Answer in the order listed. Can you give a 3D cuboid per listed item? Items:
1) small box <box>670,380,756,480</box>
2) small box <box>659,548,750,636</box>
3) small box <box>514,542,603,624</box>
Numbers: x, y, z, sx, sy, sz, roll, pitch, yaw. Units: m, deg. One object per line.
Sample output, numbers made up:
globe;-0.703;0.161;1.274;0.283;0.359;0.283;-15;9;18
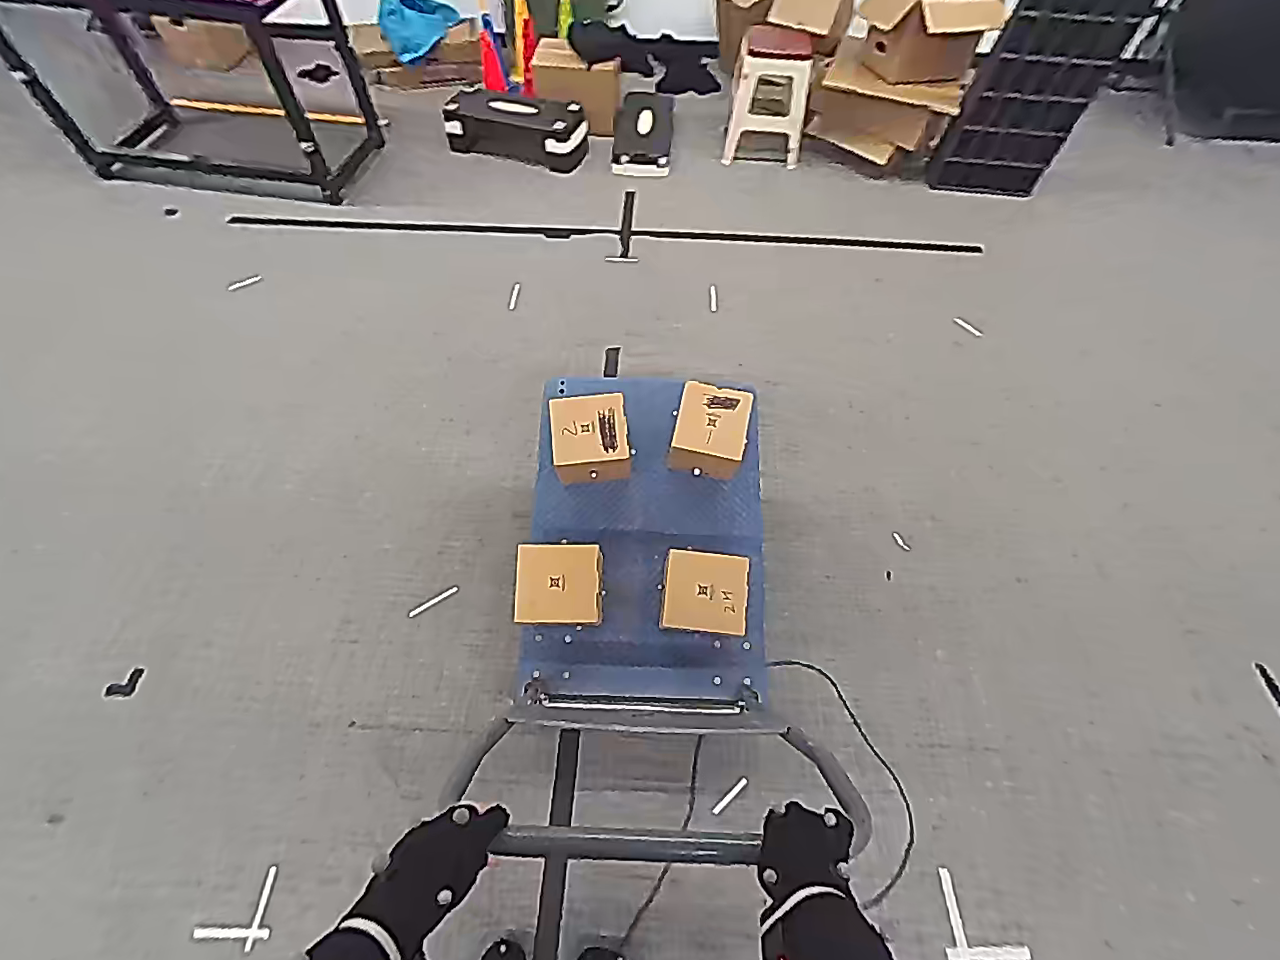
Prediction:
small box;0.173;-0.117;1.334;0.168;0.176;0.179;13;75;3
small box;0.140;0.259;1.220;0.179;0.176;0.168;7;74;1
small box;-0.177;0.237;1.221;0.179;0.176;0.168;1;73;-2
